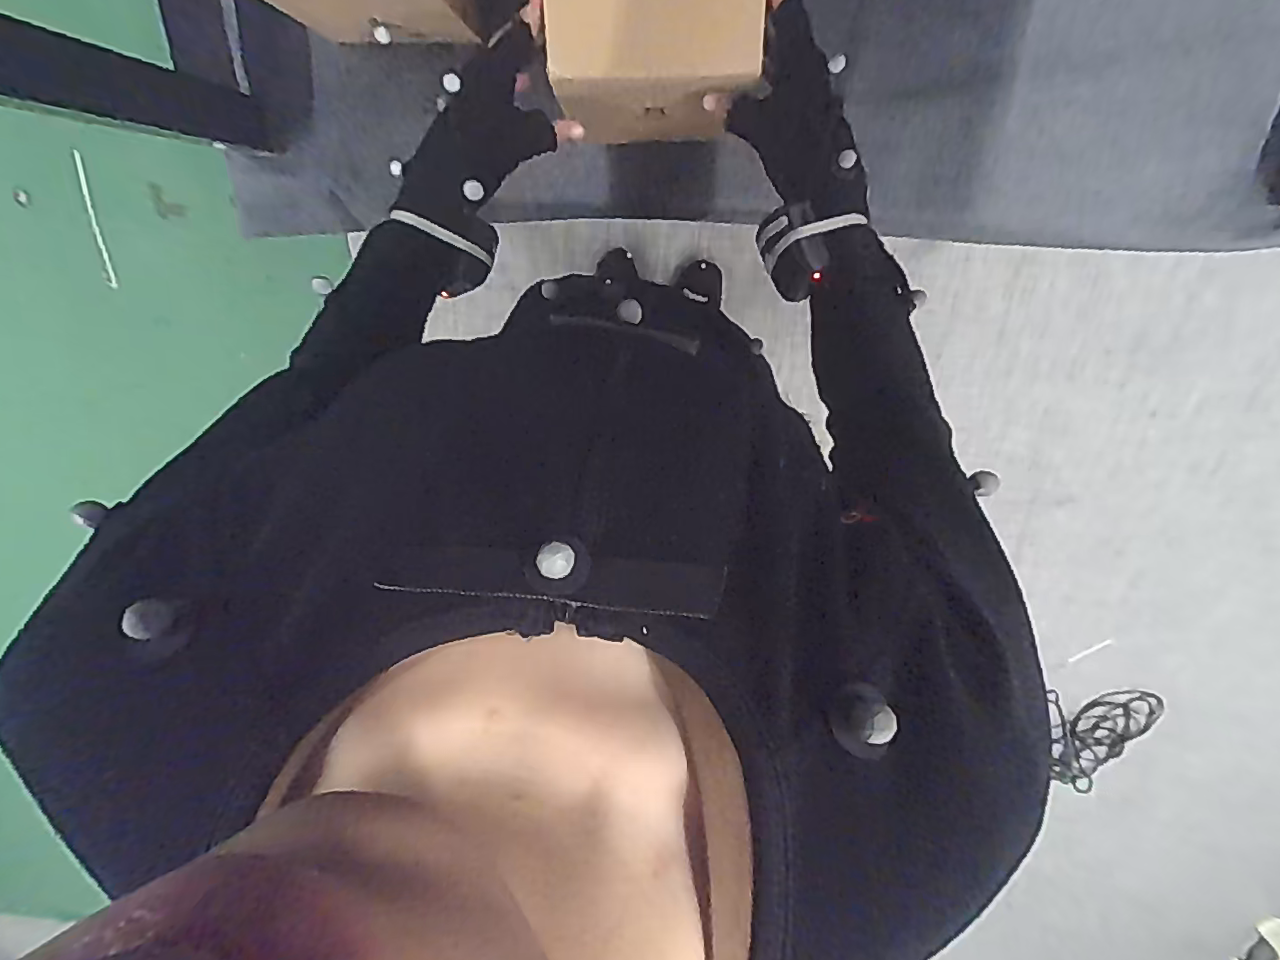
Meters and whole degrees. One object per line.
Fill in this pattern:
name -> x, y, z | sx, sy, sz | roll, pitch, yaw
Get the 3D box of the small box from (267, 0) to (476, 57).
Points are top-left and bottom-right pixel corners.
small box -> -0.253, -0.502, 0.464 | 0.168, 0.176, 0.179 | 3, 112, 3
